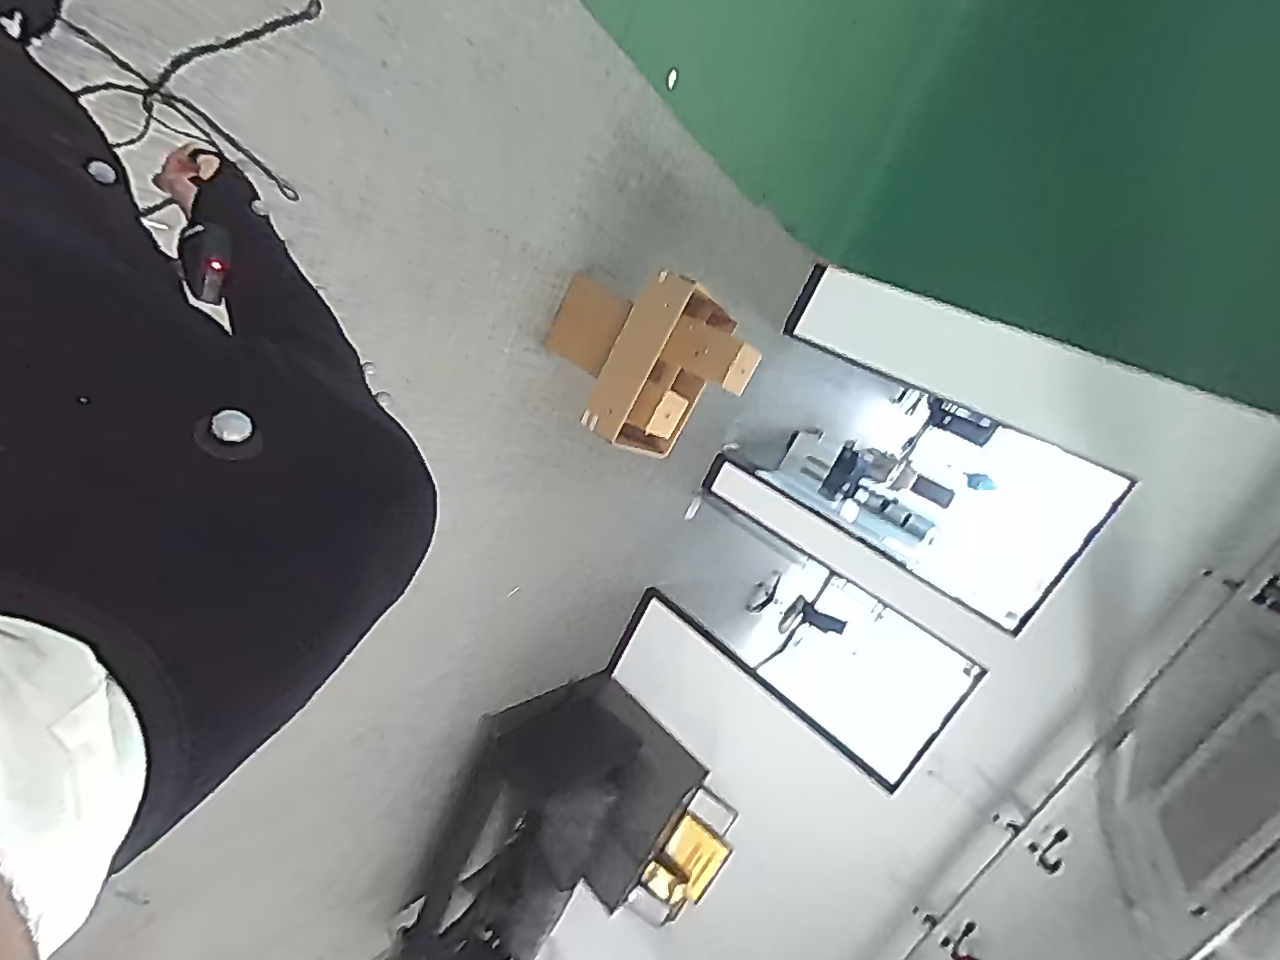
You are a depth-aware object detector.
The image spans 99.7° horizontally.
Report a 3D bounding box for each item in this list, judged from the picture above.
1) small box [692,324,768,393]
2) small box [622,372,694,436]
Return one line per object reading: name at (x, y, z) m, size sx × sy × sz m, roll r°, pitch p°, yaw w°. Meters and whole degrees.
small box at (0.317, -0.430, 1.905) m, size 0.179 × 0.176 × 0.168 m, roll 9°, pitch 112°, yaw -57°
small box at (0.065, -0.287, 2.026) m, size 0.179 × 0.176 × 0.168 m, roll 12°, pitch 110°, yaw -57°
